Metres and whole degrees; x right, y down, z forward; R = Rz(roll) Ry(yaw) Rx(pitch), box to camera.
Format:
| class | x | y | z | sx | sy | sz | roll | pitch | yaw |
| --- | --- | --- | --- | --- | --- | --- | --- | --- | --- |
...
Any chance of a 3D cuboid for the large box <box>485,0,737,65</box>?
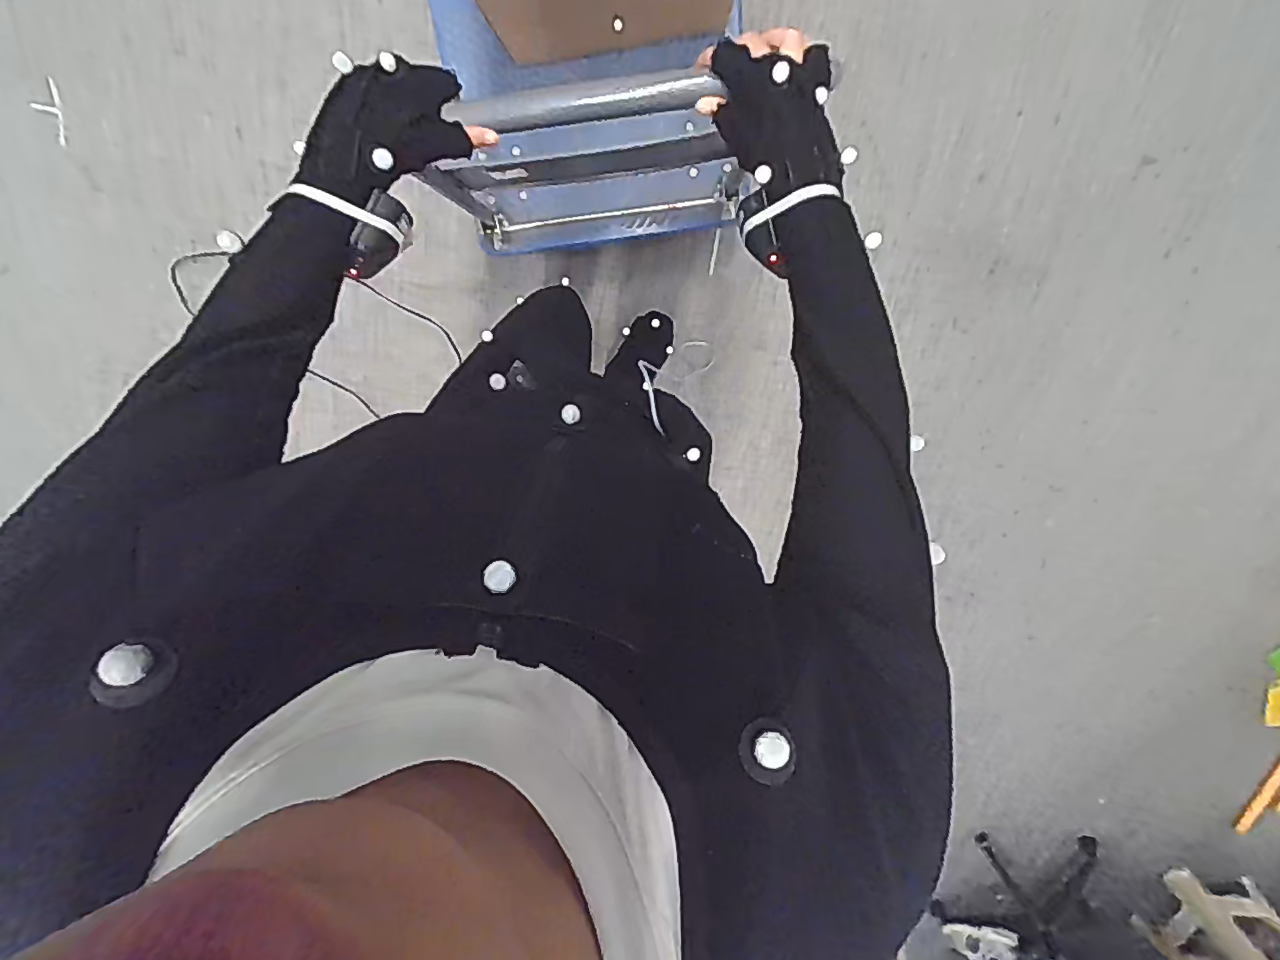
| class | x | y | z | sx | sy | sz | roll | pitch | yaw |
| --- | --- | --- | --- | --- | --- | --- | --- | --- | --- |
| large box | -0.053 | -0.918 | 0.848 | 0.408 | 0.320 | 0.320 | -7 | 110 | 5 |
